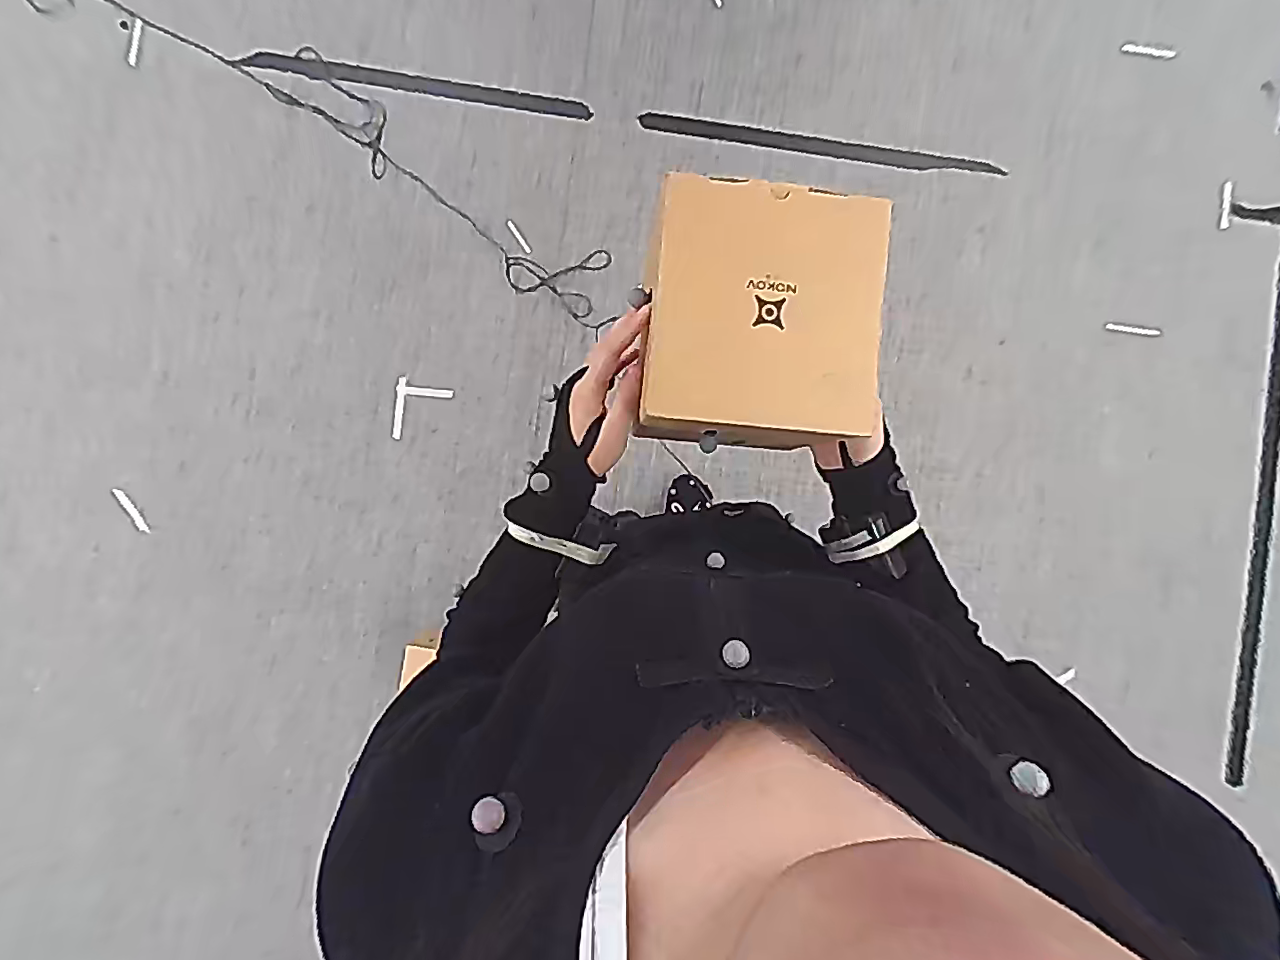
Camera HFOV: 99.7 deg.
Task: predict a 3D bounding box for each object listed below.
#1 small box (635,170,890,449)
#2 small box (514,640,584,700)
[{"bbox_3d":[0.086,-0.123,0.460,0.168,0.176,0.179,5,88,-4],"label":"small box"},{"bbox_3d":[-0.244,0.538,1.412,0.168,0.176,0.179,11,88,-1],"label":"small box"}]
